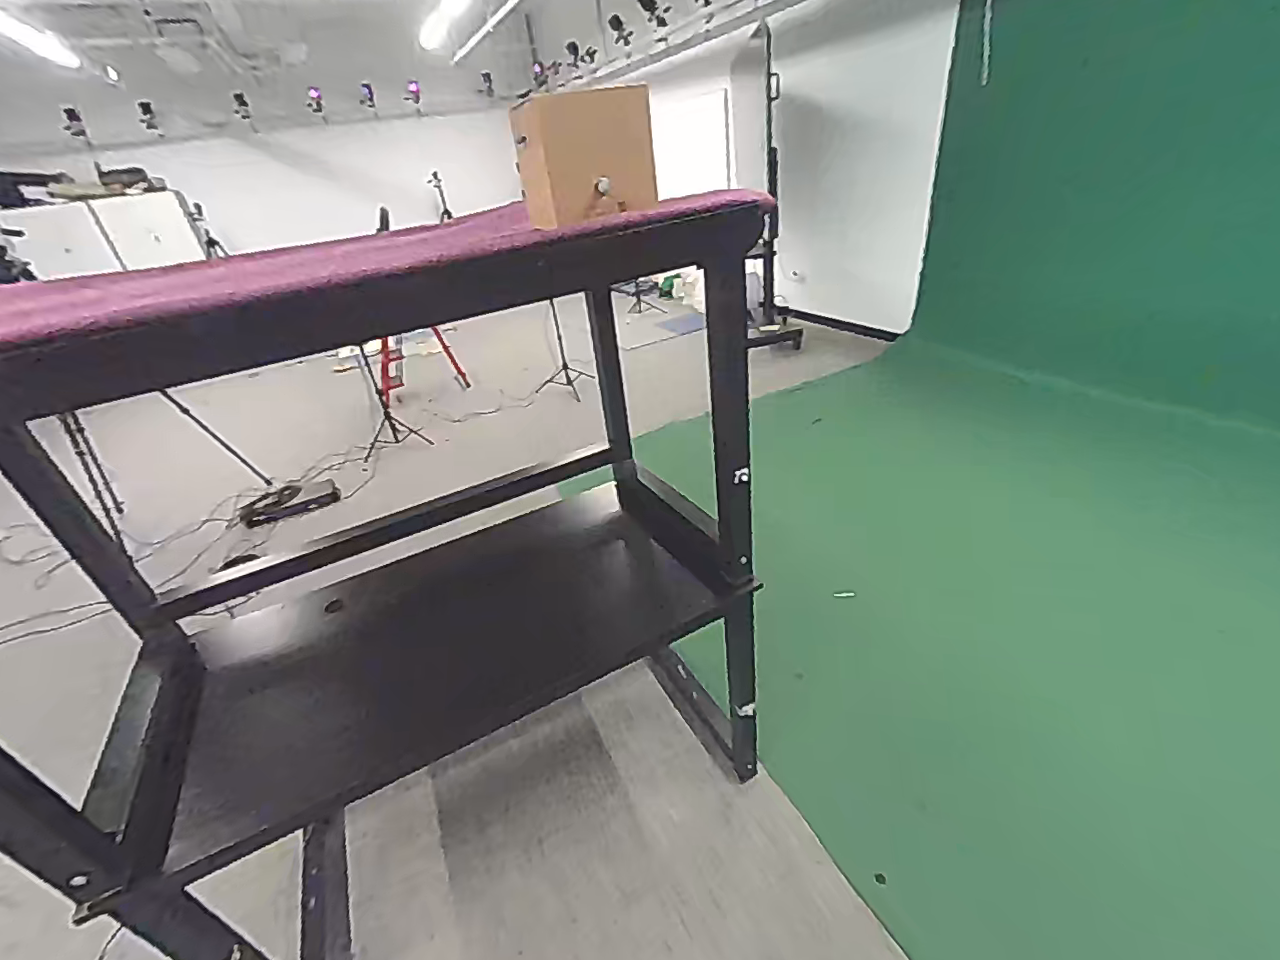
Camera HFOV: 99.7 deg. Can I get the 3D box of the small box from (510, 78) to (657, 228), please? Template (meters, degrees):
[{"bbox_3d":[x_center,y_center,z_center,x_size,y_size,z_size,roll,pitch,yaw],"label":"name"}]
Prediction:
[{"bbox_3d":[-0.086,-0.488,0.821,0.168,0.176,0.179,-19,33,-15],"label":"small box"}]
